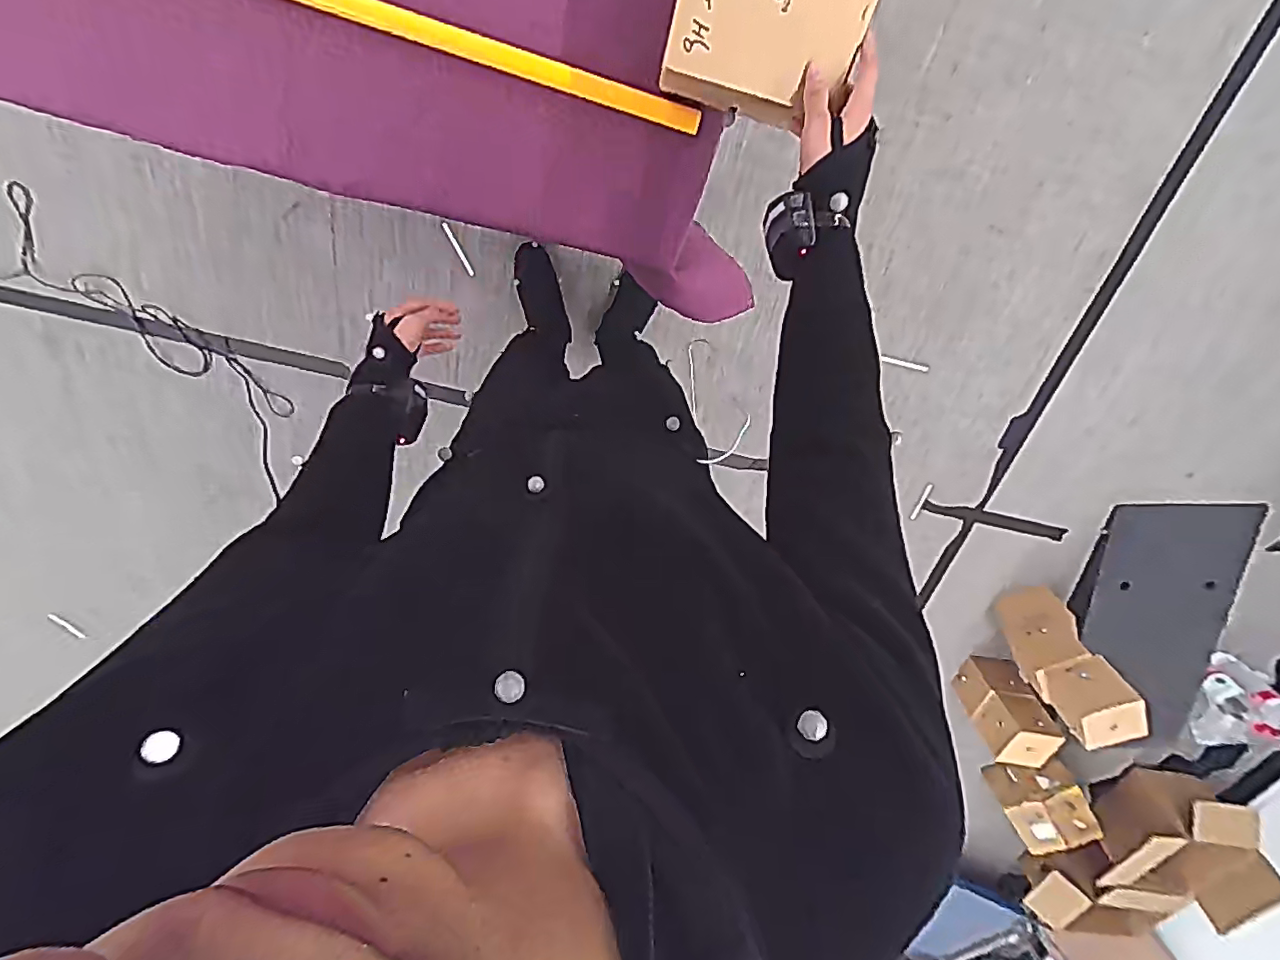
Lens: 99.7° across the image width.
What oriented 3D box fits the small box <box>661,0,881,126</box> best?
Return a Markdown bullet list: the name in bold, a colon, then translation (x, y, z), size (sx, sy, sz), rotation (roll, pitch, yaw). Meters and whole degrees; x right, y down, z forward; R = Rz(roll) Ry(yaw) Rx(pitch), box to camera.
- **small box**: translation (0.127, -0.474, 0.543), size (0.179, 0.176, 0.168), rotation (13, 119, -7)
